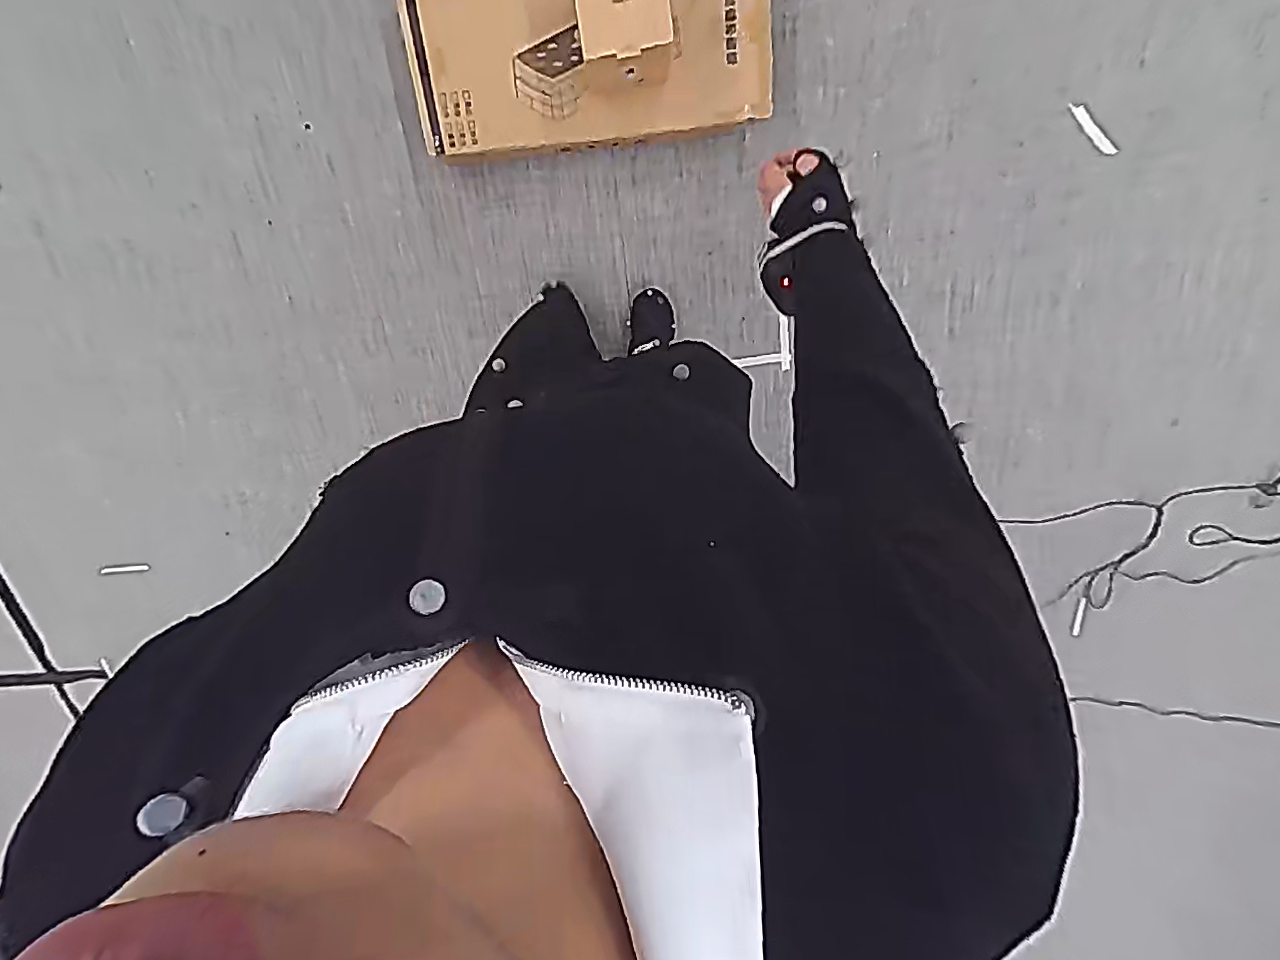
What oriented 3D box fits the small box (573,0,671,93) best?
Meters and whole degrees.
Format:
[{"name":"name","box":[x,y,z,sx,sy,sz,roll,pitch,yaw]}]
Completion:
[{"name":"small box","box":[-0.032,-0.856,1.017,0.168,0.176,0.179,-7,110,3]}]
